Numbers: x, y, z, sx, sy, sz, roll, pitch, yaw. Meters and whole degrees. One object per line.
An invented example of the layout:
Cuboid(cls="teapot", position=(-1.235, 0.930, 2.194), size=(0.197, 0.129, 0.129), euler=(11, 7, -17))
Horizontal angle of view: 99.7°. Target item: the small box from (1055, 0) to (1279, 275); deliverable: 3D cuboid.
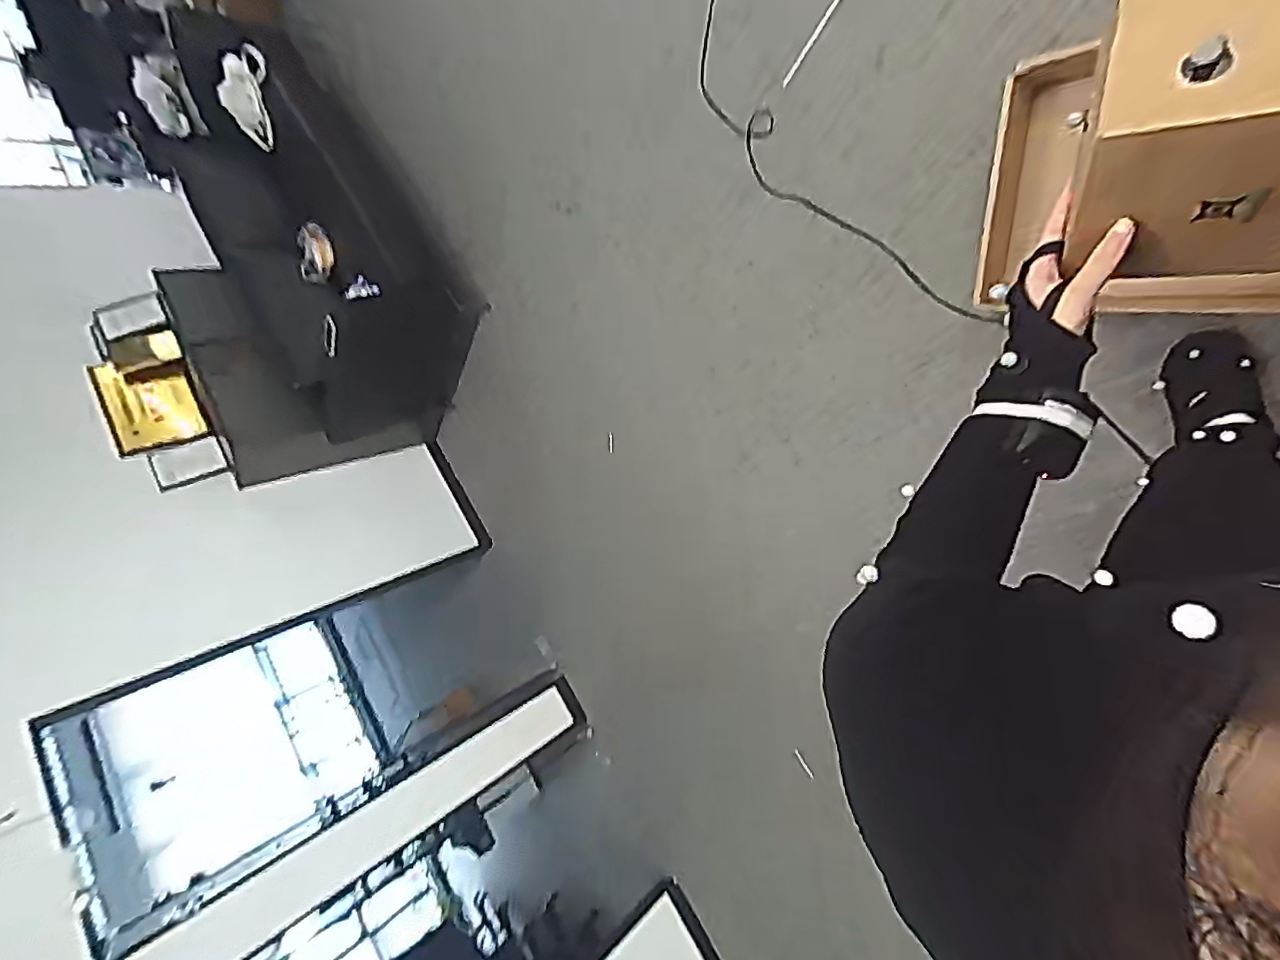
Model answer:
Cuboid(cls="small box", position=(0.417, -0.263, 0.370), size=(0.179, 0.168, 0.176), euler=(10, 84, 32))
